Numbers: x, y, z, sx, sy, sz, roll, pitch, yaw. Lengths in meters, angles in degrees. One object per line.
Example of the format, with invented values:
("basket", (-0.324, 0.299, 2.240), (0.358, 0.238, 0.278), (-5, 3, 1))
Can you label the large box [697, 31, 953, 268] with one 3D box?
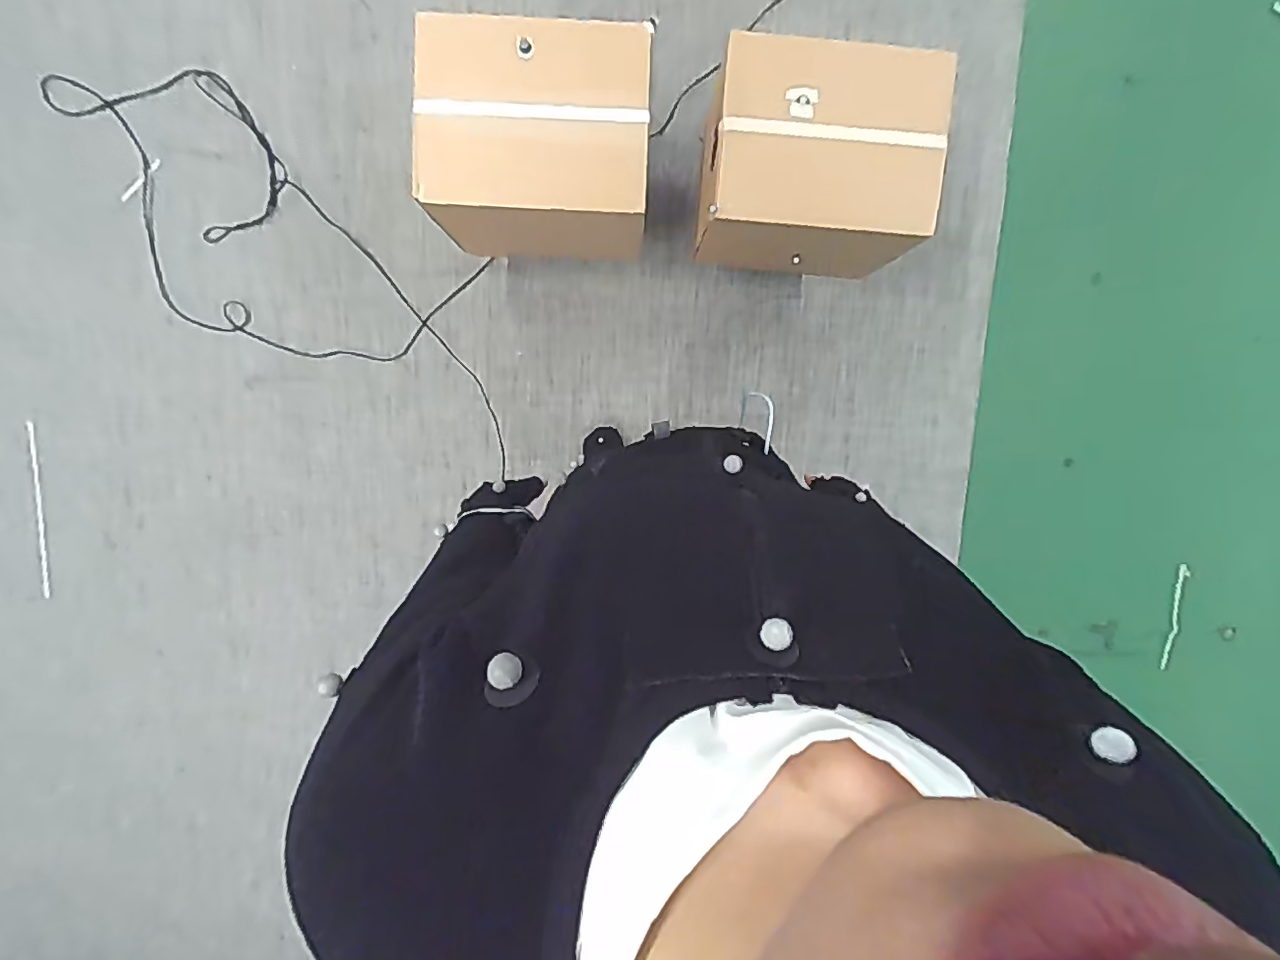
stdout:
("large box", (0.345, -0.641, 1.113), (0.408, 0.320, 0.320), (4, 97, -1))
